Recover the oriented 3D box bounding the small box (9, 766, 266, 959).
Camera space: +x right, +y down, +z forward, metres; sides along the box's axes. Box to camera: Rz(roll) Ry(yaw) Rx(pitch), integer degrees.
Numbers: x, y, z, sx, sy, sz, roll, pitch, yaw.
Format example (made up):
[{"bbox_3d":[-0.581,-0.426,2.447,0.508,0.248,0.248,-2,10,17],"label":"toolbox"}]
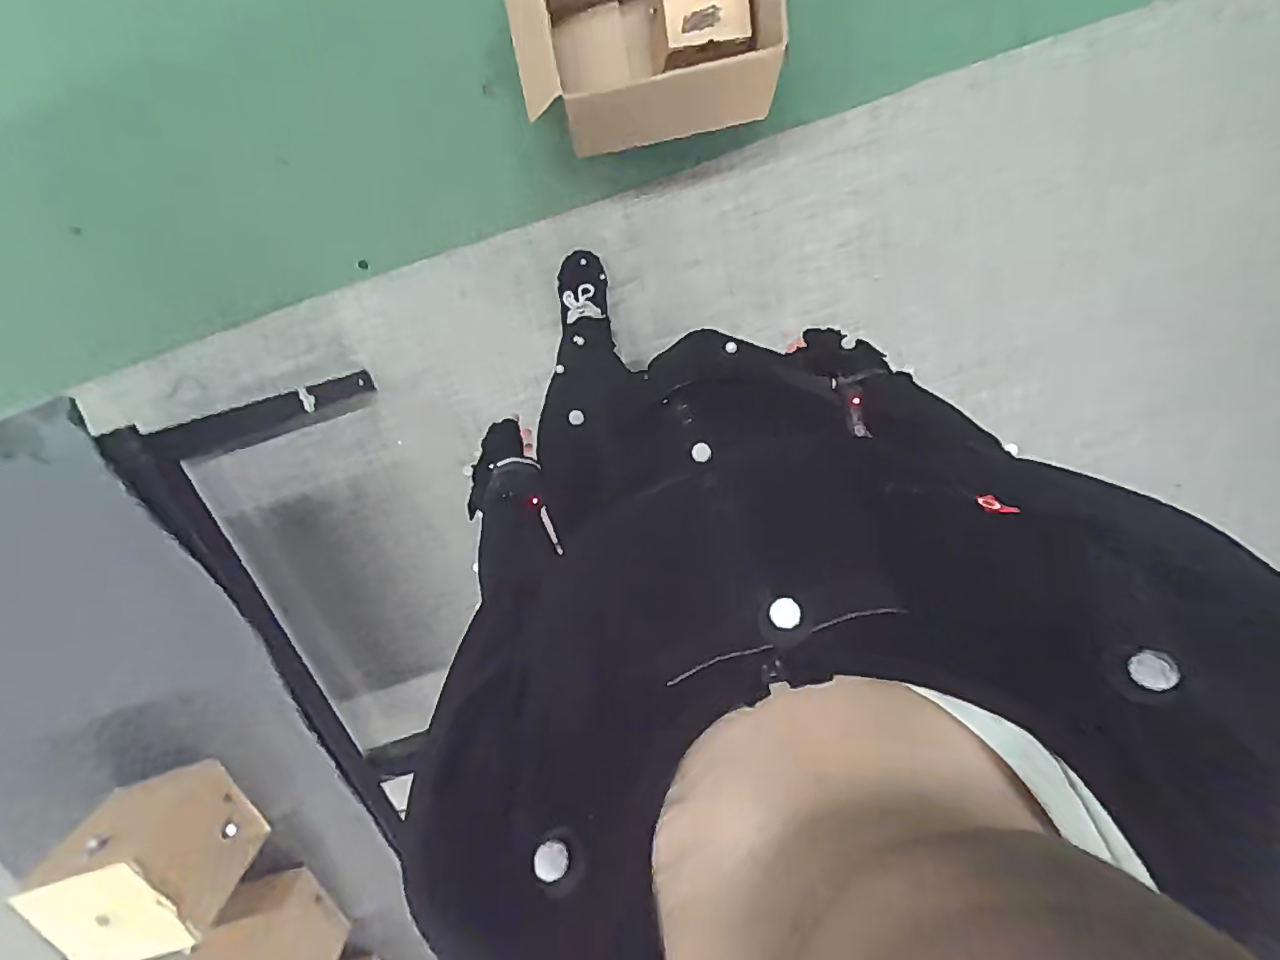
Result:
[{"bbox_3d":[-0.705,0.559,0.785,0.179,0.176,0.168,-20,108,2],"label":"small box"}]
